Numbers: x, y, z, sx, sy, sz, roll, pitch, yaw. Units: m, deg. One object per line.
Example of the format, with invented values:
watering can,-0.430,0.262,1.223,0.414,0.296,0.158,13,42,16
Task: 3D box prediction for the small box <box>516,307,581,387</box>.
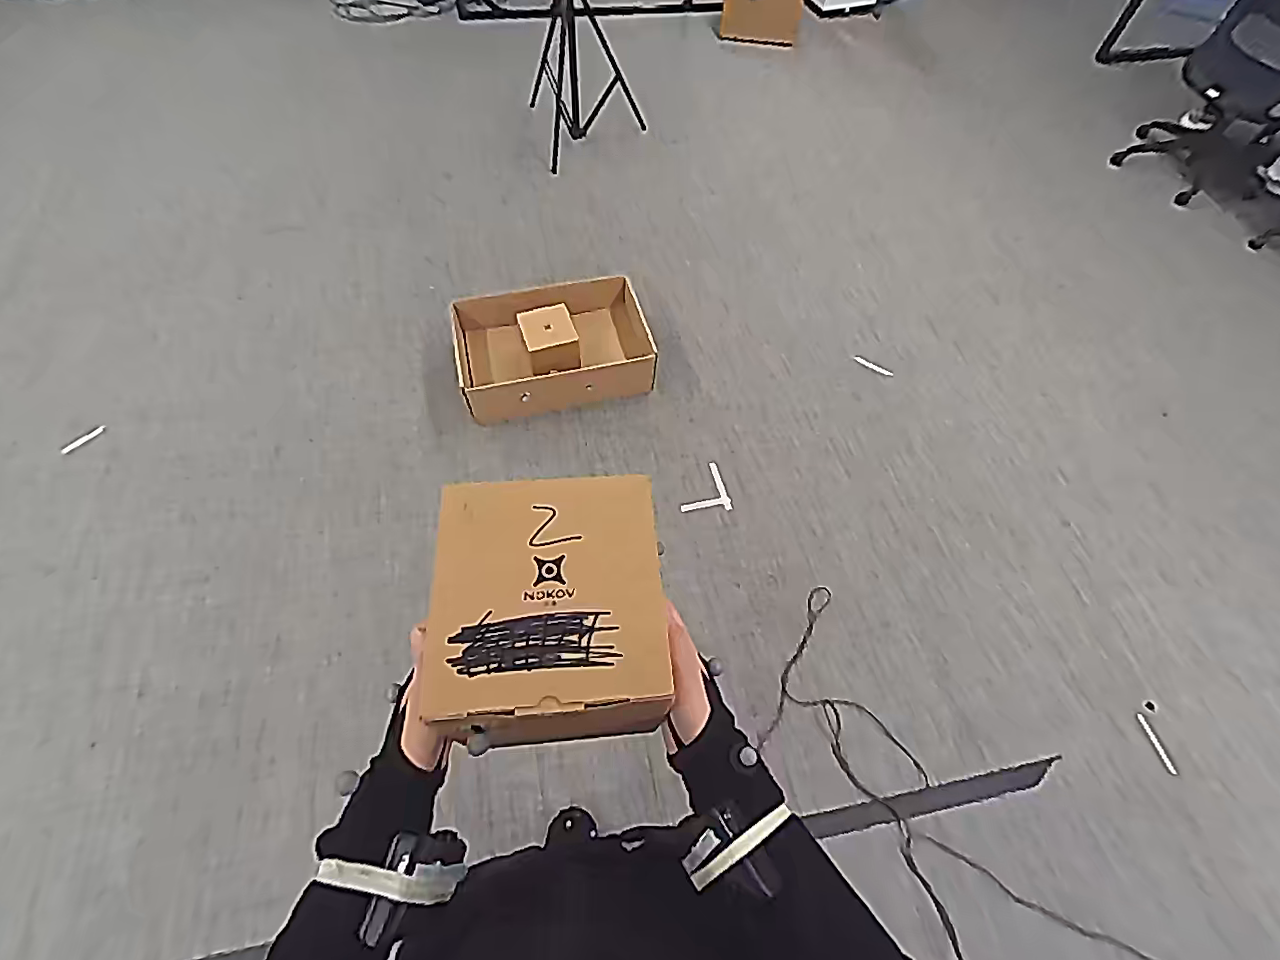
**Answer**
small box,-0.301,-0.440,1.793,0.168,0.176,0.179,-17,63,-12
